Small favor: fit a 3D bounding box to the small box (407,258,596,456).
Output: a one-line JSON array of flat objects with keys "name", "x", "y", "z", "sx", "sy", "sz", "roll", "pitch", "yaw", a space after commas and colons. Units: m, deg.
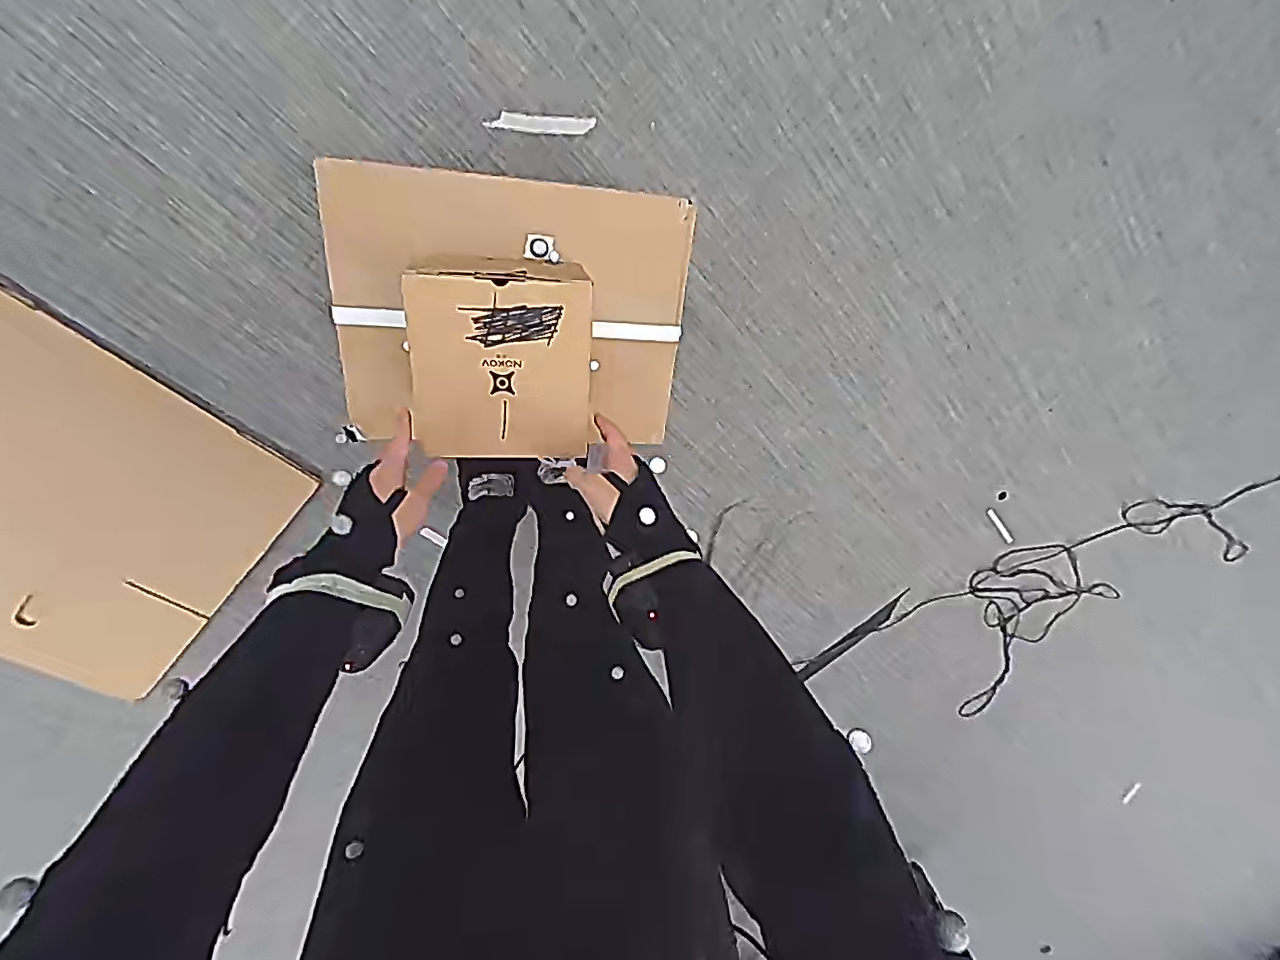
[{"name": "small box", "x": -0.141, "y": -0.137, "z": 0.582, "sx": 0.168, "sy": 0.176, "sz": 0.179, "roll": -1, "pitch": 117, "yaw": -10}]
